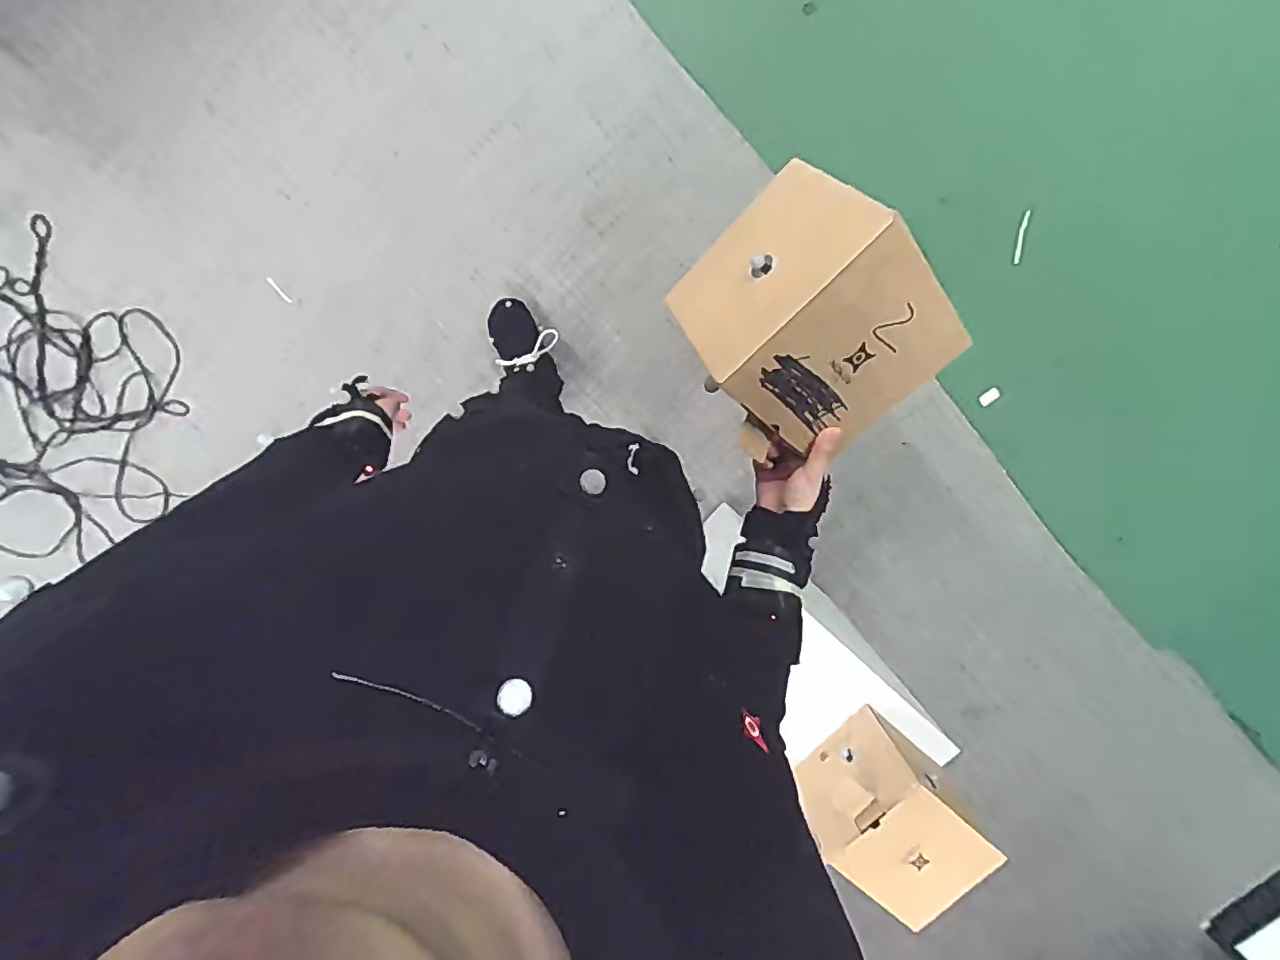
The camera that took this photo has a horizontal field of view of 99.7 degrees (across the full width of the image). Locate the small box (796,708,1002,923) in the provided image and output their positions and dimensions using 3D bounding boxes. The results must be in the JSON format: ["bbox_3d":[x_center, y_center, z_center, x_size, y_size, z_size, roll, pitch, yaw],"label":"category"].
[{"bbox_3d":[0.362,0.476,0.791,0.179,0.176,0.168,41,99,-8],"label":"small box"}]
